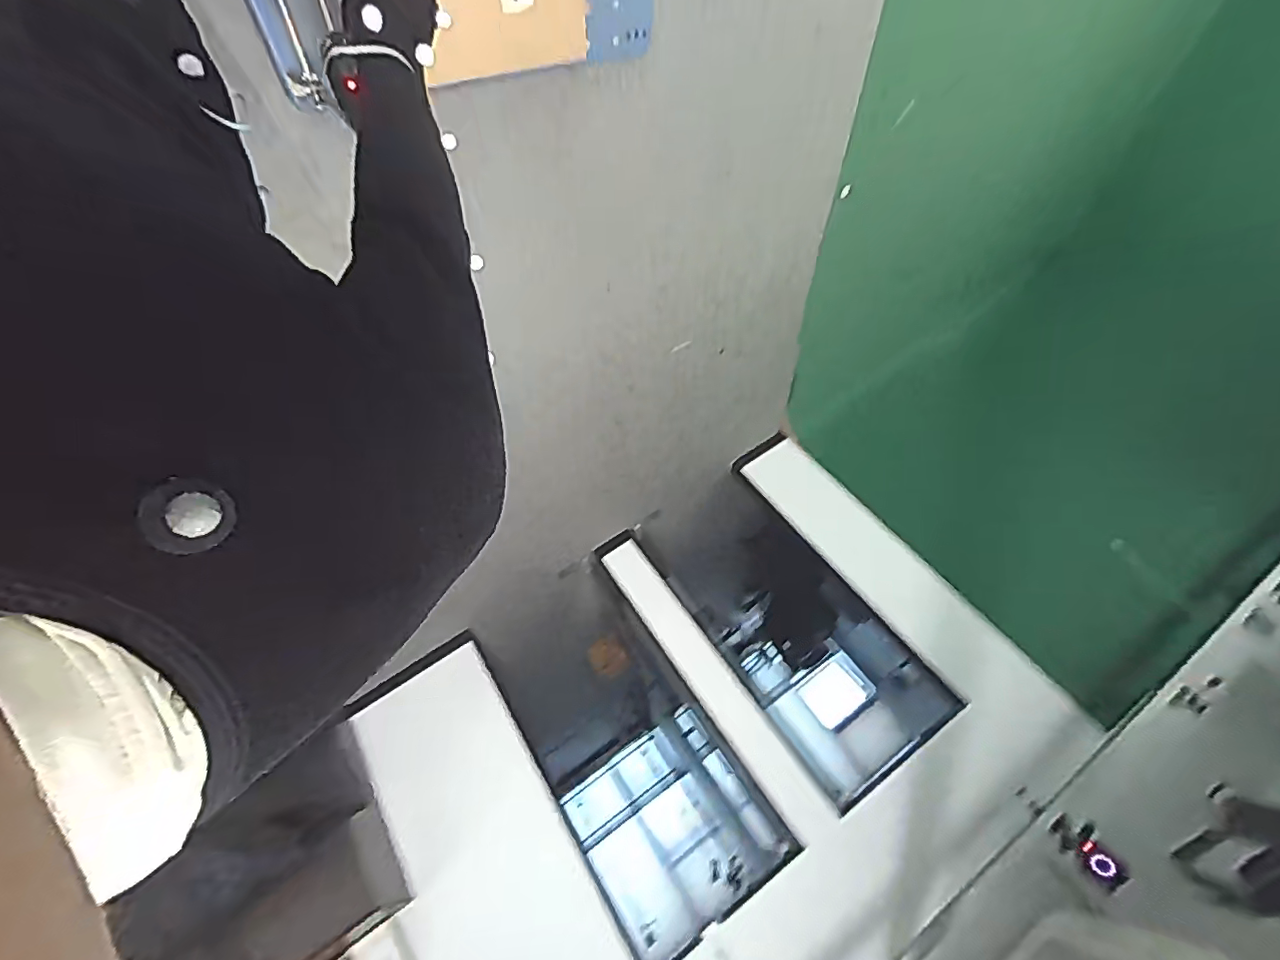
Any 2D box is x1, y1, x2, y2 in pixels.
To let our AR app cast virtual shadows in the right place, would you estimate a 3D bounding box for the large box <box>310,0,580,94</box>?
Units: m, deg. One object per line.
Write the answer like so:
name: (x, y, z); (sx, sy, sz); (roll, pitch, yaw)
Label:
large box: (-0.360, -0.919, 0.914); (0.408, 0.320, 0.320); (-29, 151, -21)
